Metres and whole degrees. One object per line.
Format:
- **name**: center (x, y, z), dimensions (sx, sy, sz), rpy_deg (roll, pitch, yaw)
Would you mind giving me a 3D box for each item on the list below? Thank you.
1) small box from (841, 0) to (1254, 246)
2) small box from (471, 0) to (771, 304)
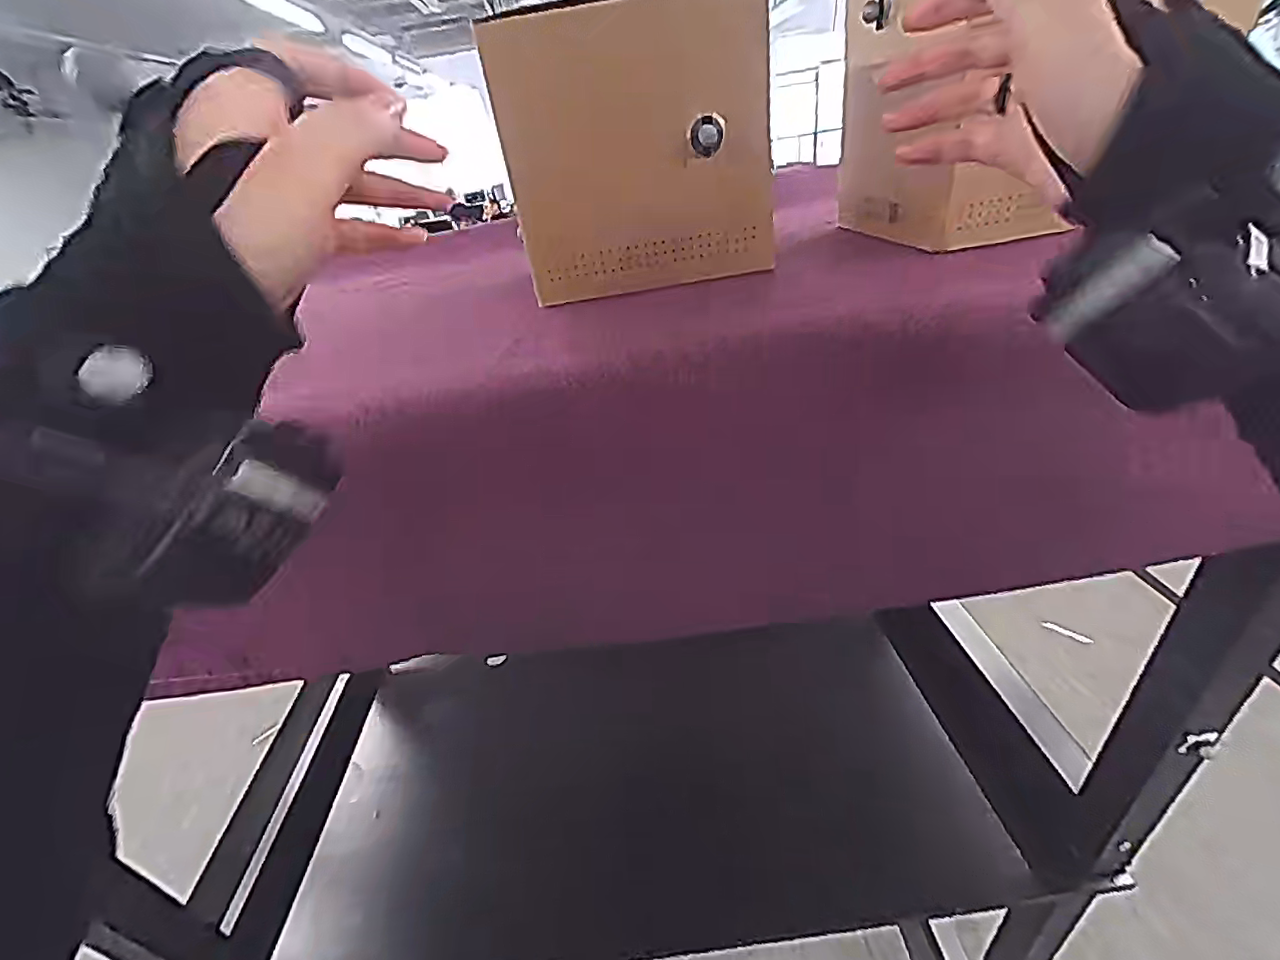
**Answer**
- **small box**: center (0.260, -0.277, 0.382), dimensions (0.179, 0.176, 0.168), rpy_deg (-10, 31, -1)
- **small box**: center (-0.005, -0.249, 0.416), dimensions (0.179, 0.176, 0.168), rpy_deg (-10, 31, 1)
